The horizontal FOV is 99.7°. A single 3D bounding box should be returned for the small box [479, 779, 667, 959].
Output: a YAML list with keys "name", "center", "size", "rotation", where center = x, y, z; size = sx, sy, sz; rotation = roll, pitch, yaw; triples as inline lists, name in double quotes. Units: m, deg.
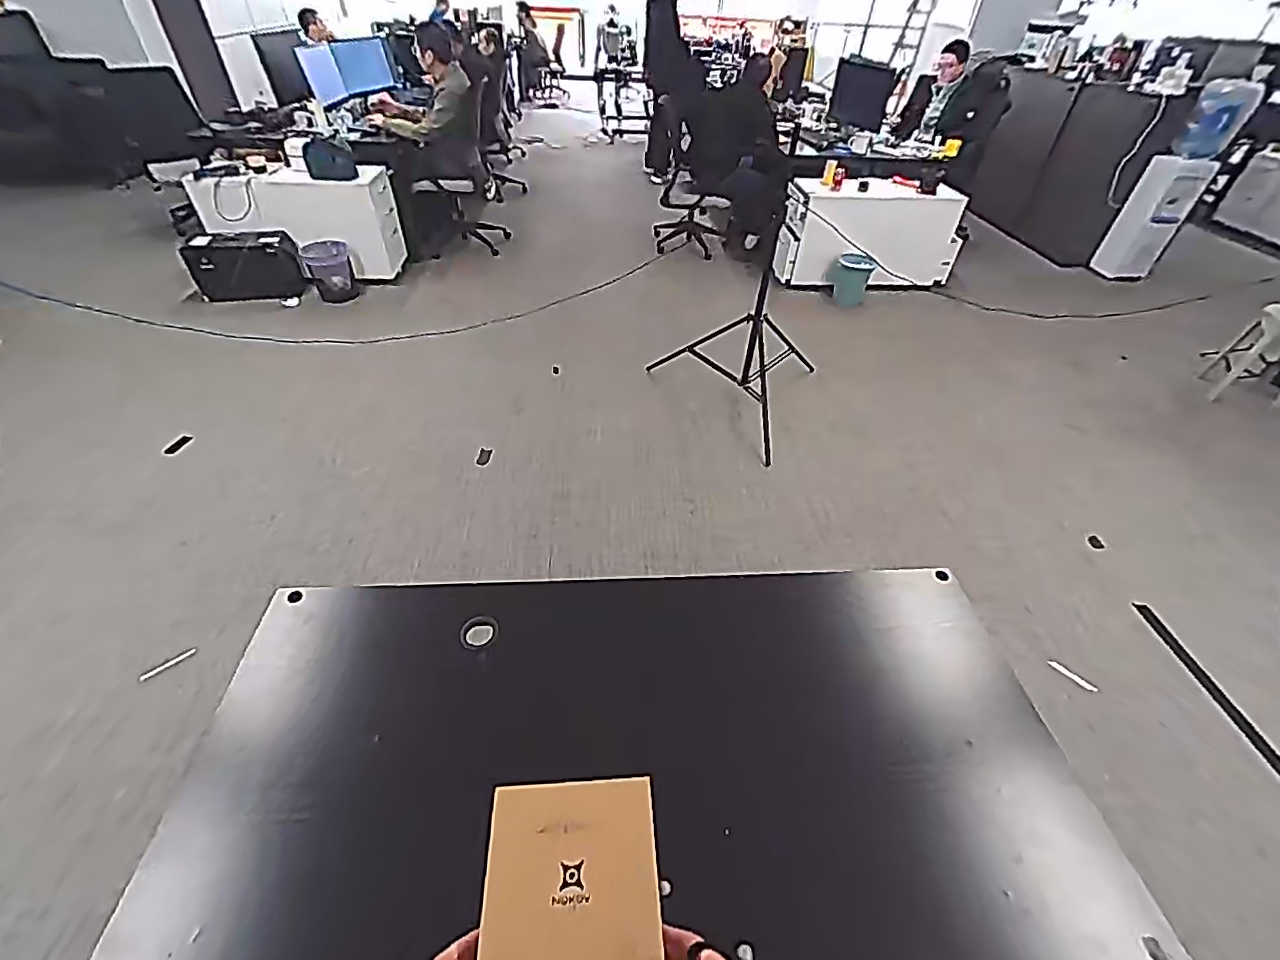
- name: "small box"
  center: [-0.064, 0.438, 0.559]
  size: [0.168, 0.176, 0.179]
  rotation: [-1, 42, -6]
